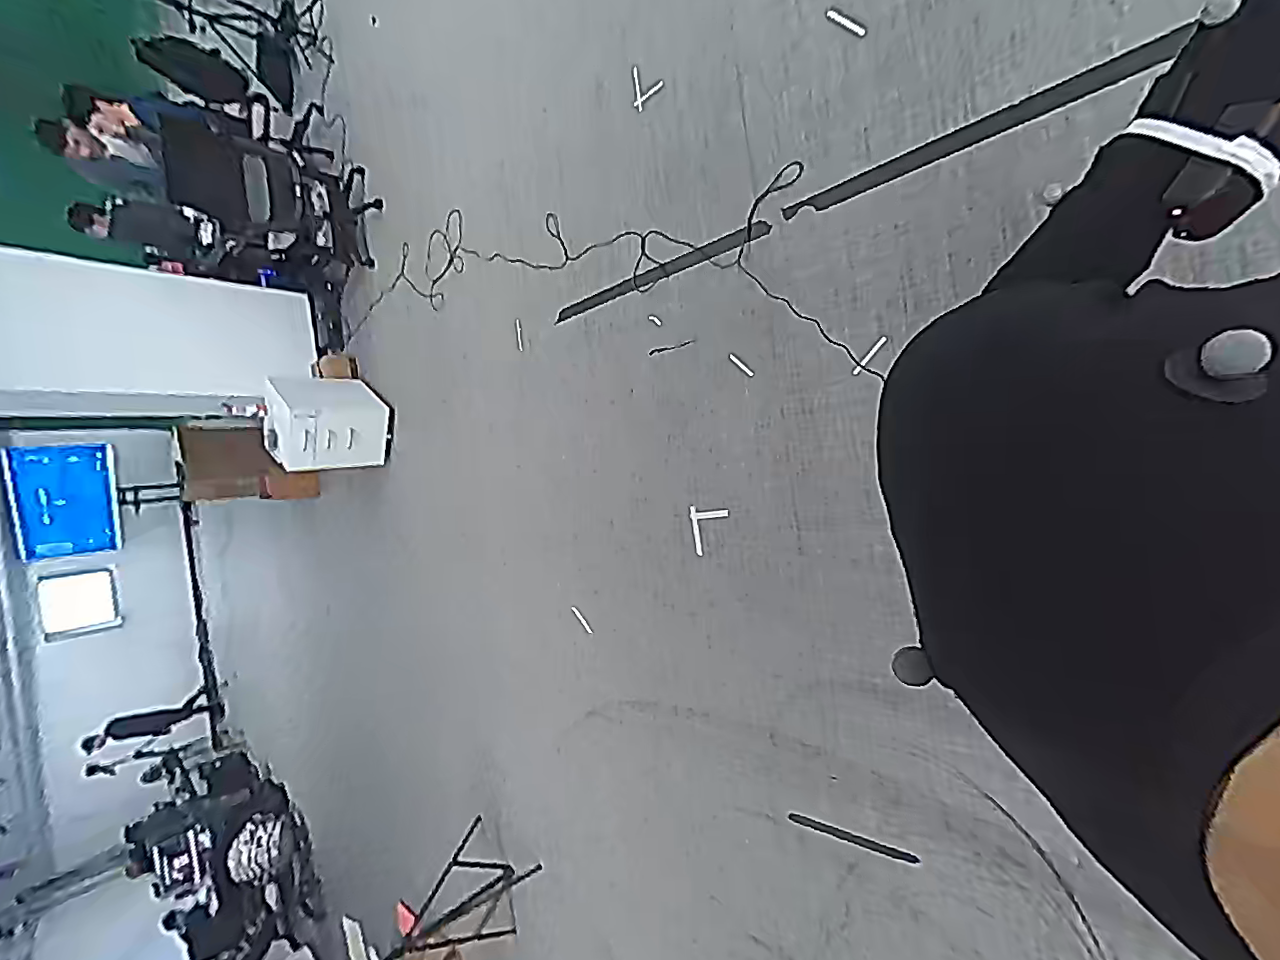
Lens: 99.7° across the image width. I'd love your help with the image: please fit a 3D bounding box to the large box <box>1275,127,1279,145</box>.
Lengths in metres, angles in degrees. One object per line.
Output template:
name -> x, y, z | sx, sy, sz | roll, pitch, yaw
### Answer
large box -> 0.682, -0.298, 0.254 | 0.408, 0.320, 0.320 | 41, 134, 29
